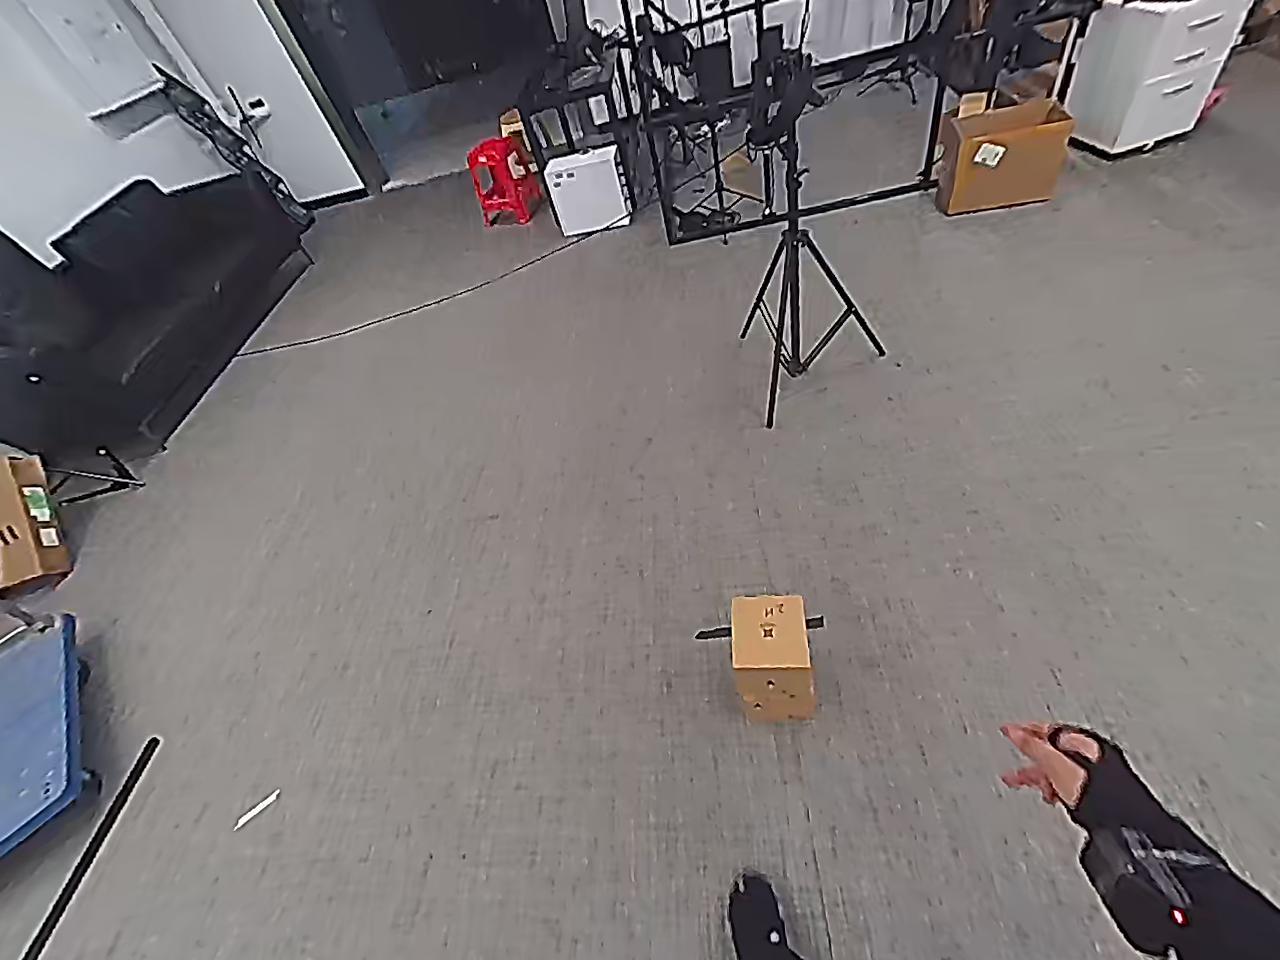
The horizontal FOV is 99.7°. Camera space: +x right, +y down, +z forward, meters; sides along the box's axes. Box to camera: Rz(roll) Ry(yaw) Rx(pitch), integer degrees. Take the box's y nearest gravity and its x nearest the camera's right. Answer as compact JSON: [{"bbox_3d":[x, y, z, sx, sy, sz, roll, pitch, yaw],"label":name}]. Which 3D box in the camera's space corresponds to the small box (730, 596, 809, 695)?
[{"bbox_3d":[0.304,0.391,1.267,0.168,0.176,0.179,-5,48,13],"label":"small box"}]
